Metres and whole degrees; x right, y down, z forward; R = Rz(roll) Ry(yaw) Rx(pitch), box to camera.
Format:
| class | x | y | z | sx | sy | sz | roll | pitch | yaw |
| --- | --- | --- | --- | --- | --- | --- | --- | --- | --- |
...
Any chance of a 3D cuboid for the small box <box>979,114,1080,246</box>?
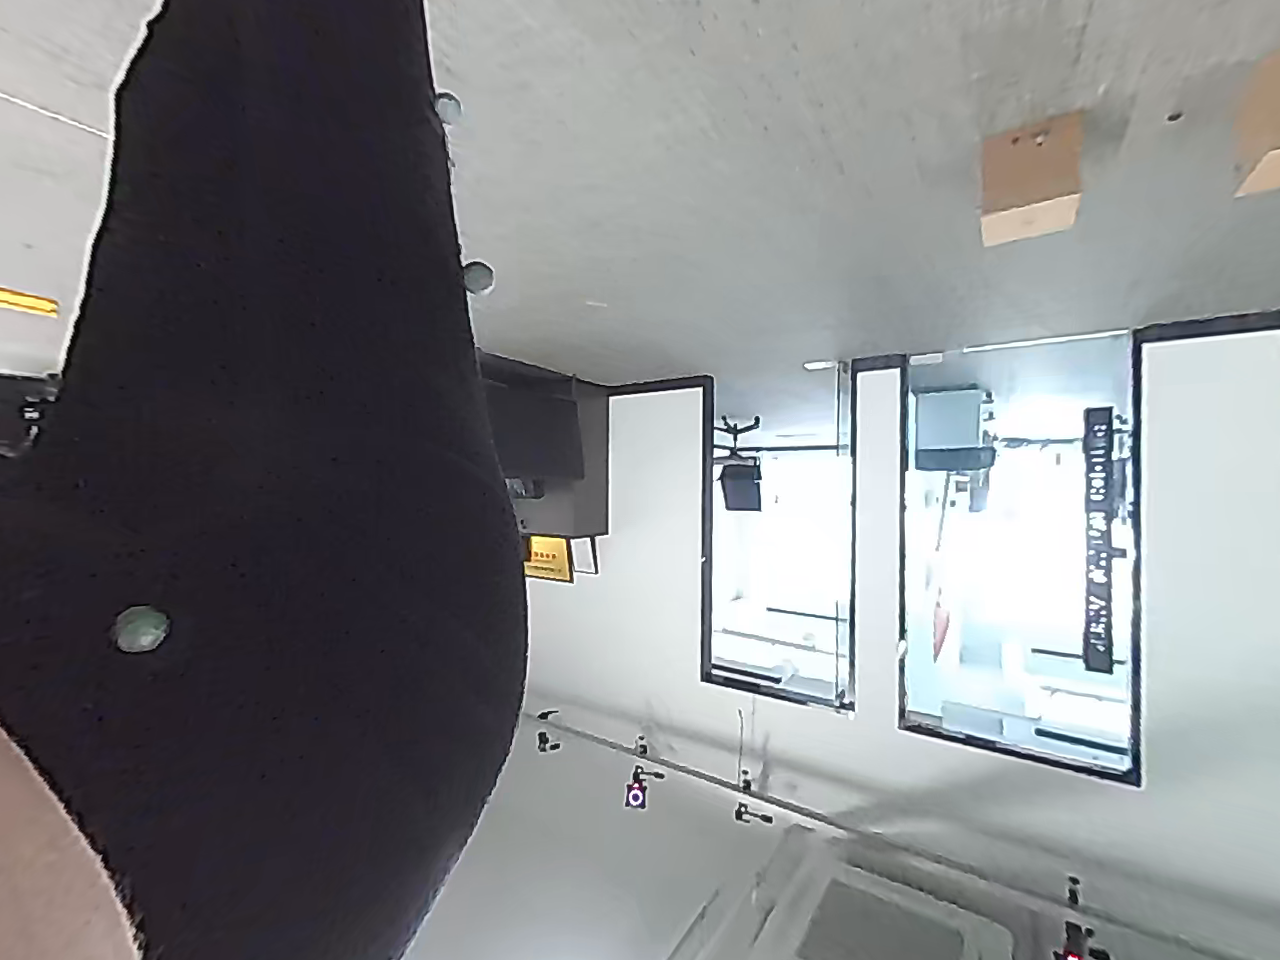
| class | x | y | z | sx | sy | sz | roll | pitch | yaw |
| --- | --- | --- | --- | --- | --- | --- | --- | --- | --- |
| small box | 0.821 | -0.627 | 1.149 | 0.168 | 0.176 | 0.179 | -1 | 179 | 34 |

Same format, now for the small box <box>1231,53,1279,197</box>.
| class | x | y | z | sx | sy | sz | roll | pitch | yaw |
| --- | --- | --- | --- | --- | --- | --- | --- | --- | --- |
| small box | 1.152 | -0.627 | 0.924 | 0.168 | 0.176 | 0.179 | -1 | 180 | 34 |
